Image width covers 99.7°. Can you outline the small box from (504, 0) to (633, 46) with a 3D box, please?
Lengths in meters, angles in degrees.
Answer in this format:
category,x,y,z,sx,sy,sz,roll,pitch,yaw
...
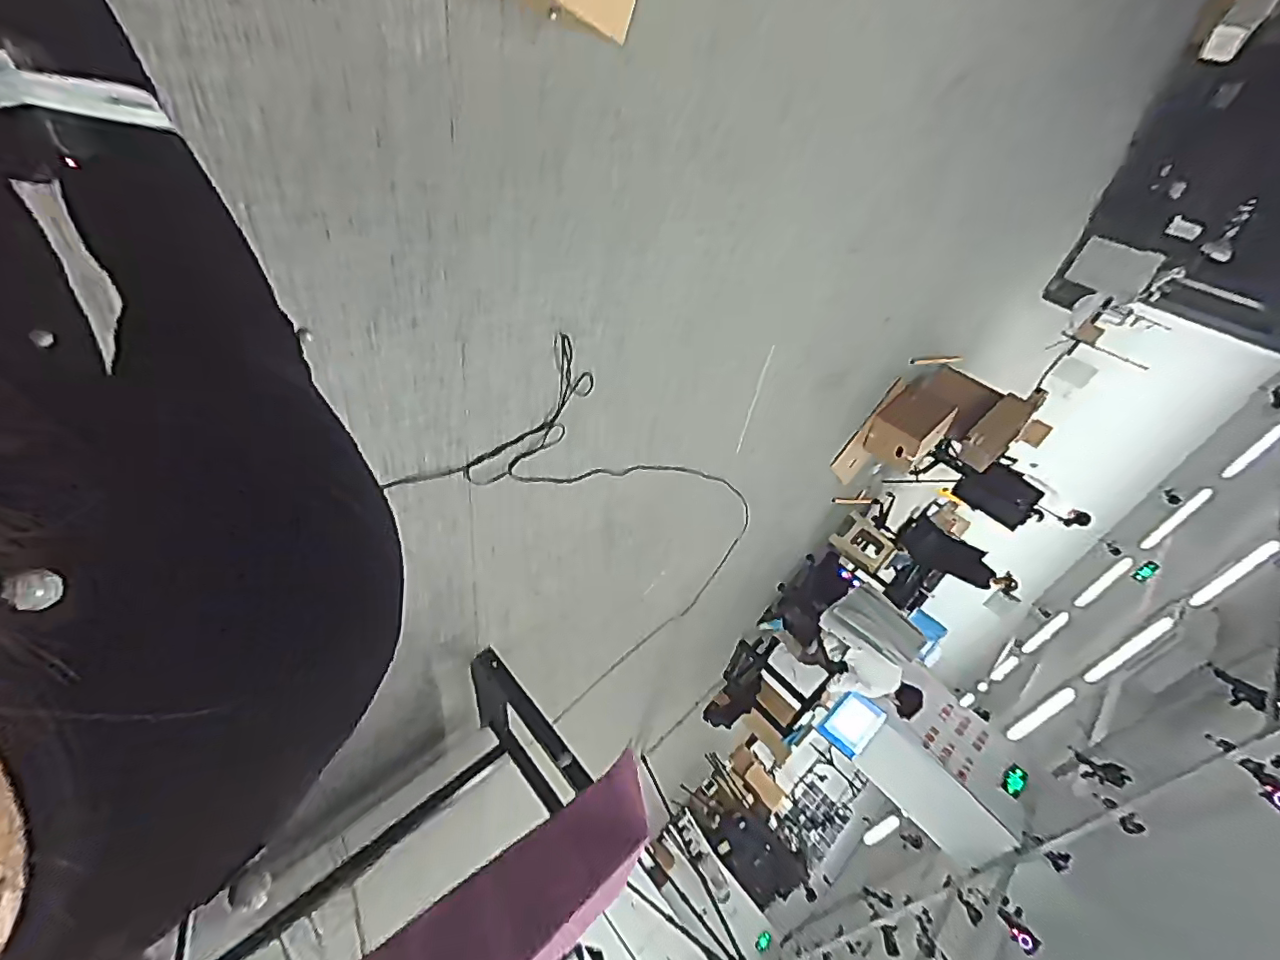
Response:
category,x,y,z,sx,sy,sz,roll,pitch,yaw
small box,-0.110,-0.689,0.675,0.179,0.176,0.168,-12,134,-49
